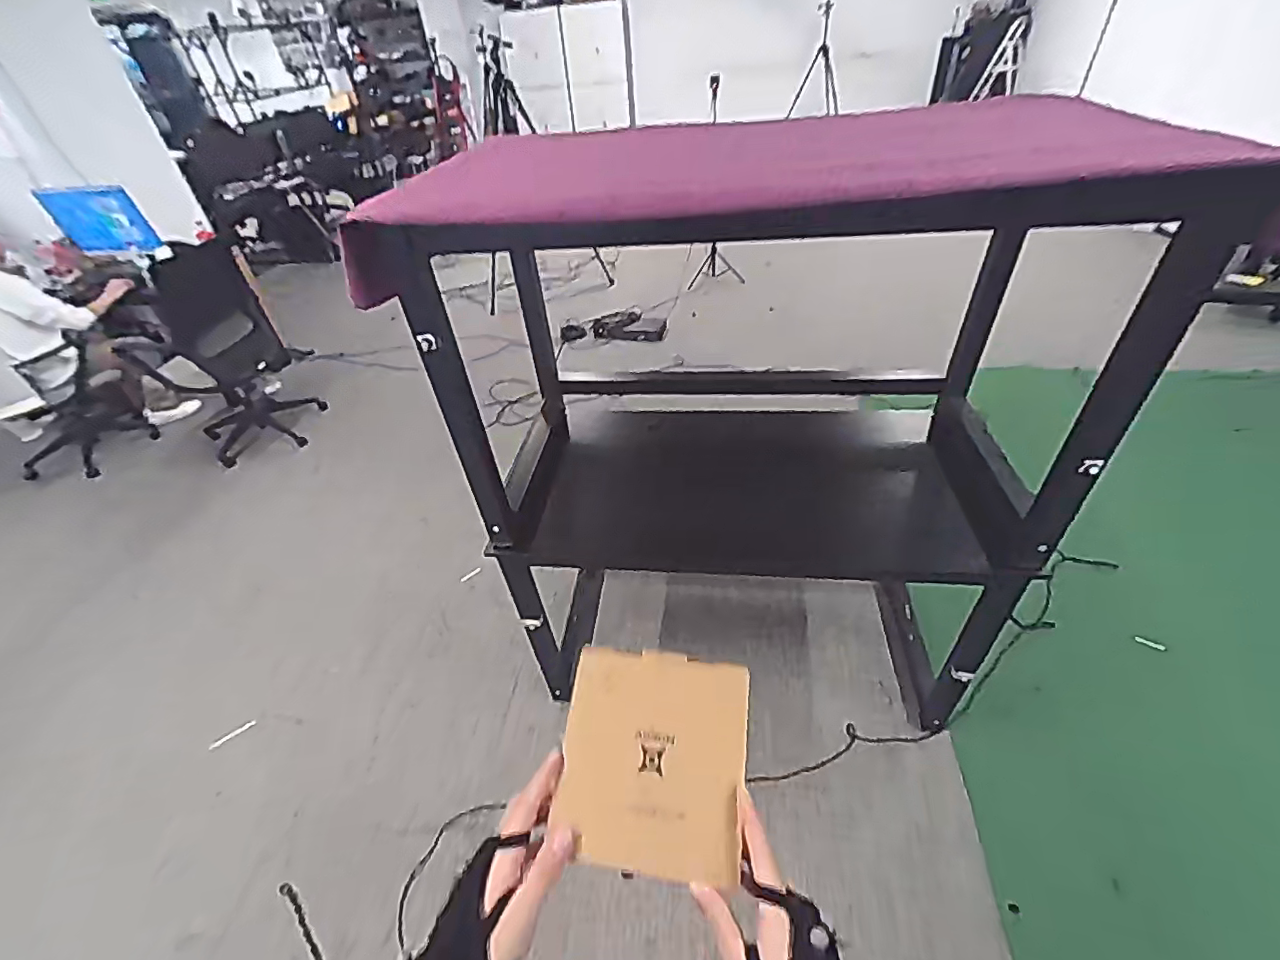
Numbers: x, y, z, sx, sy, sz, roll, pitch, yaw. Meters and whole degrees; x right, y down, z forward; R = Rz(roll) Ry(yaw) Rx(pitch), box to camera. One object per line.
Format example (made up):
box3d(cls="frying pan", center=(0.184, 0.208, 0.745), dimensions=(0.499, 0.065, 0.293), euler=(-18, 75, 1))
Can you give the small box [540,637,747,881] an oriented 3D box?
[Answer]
box3d(cls="small box", center=(0.014, 0.277, 0.551), dimensions=(0.168, 0.176, 0.179), euler=(5, 60, 8))
